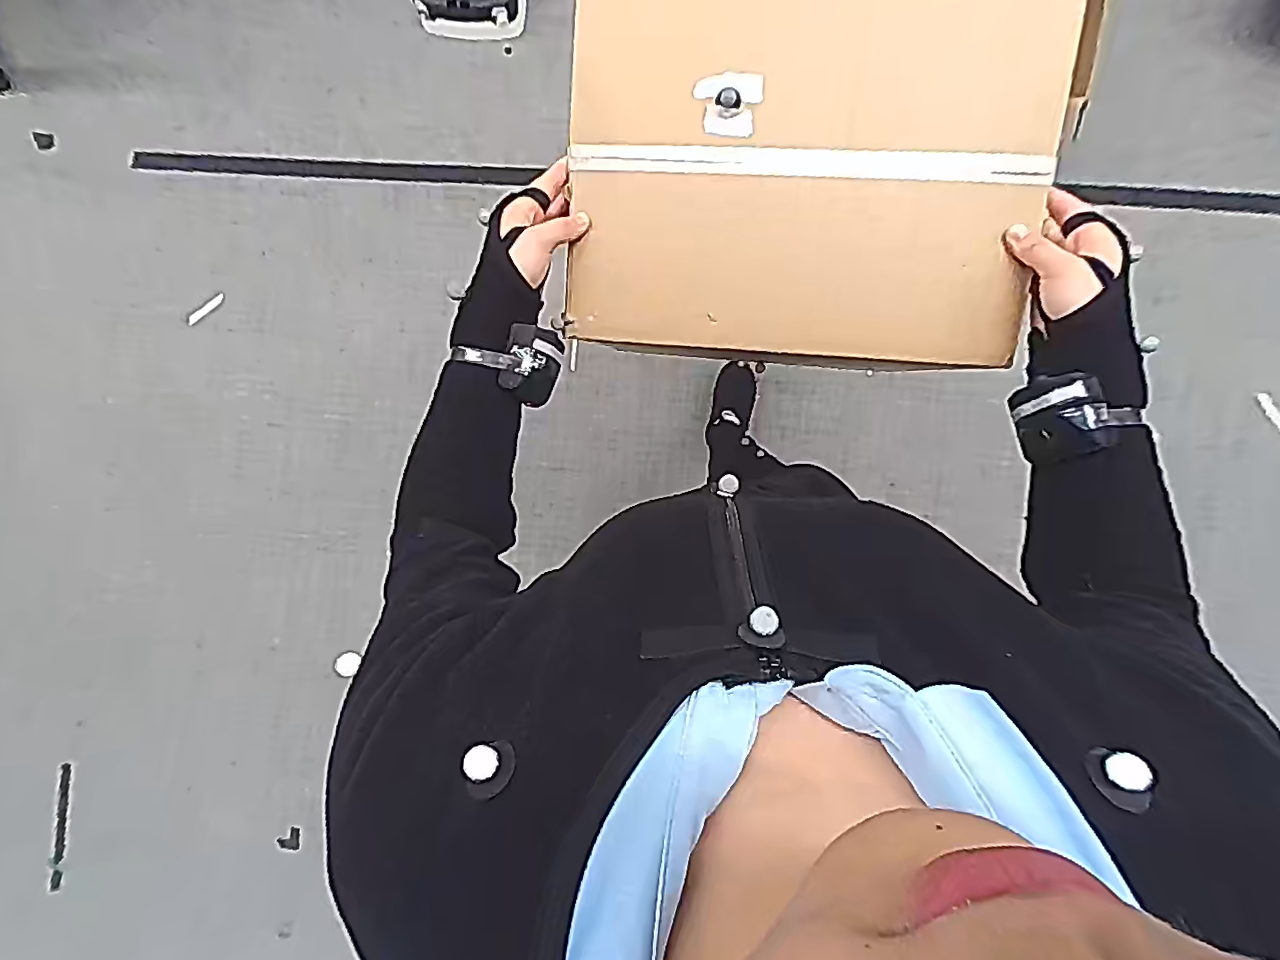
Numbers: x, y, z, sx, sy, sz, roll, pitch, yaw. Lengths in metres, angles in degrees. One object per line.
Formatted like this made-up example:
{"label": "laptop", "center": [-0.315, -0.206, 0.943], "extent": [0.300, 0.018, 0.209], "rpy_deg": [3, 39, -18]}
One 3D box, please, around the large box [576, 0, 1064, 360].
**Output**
{"label": "large box", "center": [0.160, -0.305, 0.626], "extent": [0.408, 0.320, 0.320], "rpy_deg": [5, 100, 6]}
